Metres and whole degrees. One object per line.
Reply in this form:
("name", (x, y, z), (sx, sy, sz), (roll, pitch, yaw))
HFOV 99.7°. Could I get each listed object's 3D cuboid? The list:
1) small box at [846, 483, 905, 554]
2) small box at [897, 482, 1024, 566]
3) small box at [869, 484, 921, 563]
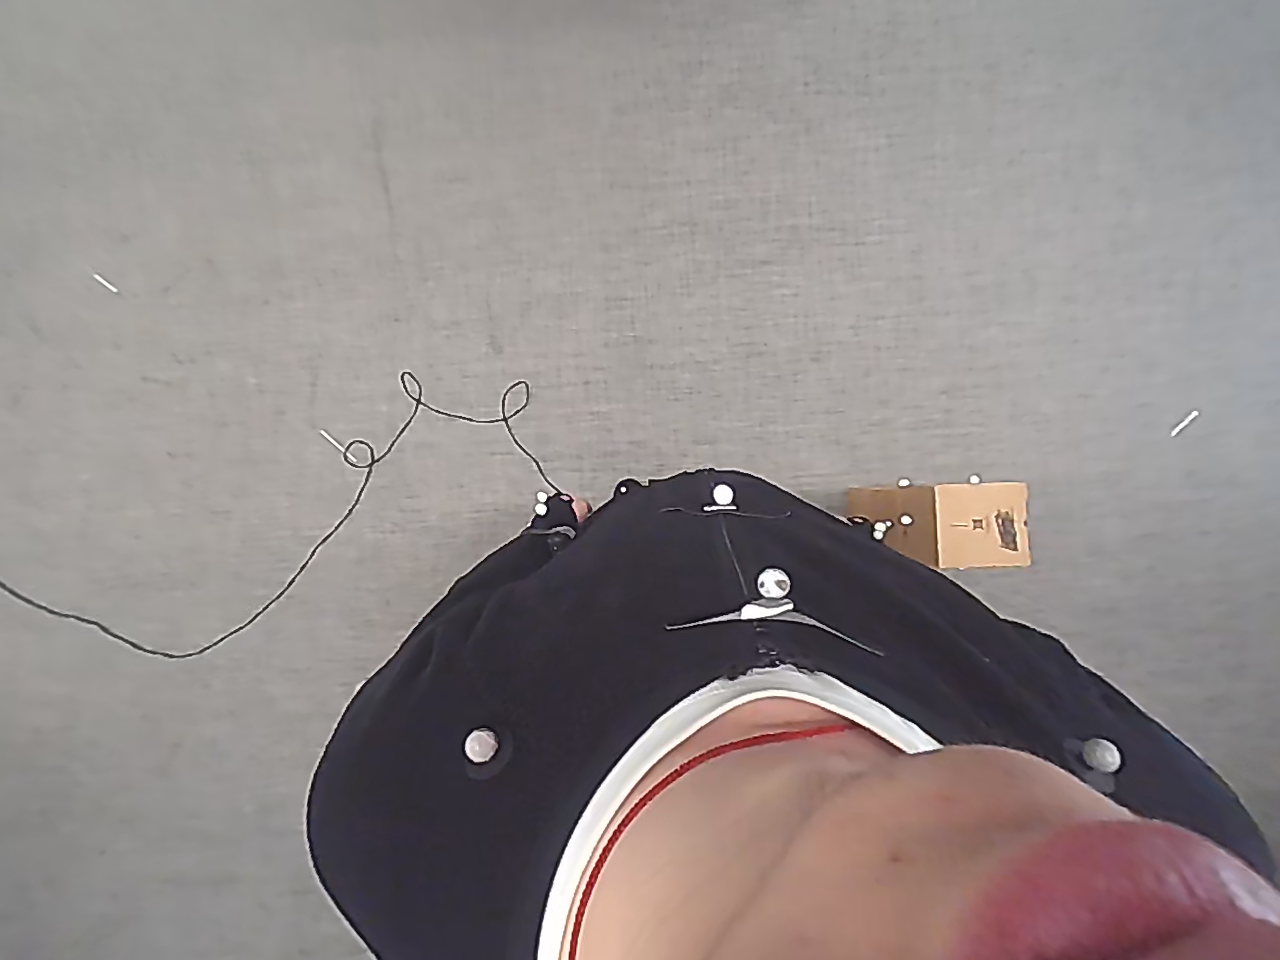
("small box", (0.673, 0.100, 1.469), (0.168, 0.176, 0.179), (-2, 90, 1))
("small box", (0.667, 0.087, 1.142), (0.179, 0.176, 0.168), (-2, 89, 3))
("small box", (0.667, 0.099, 1.308), (0.168, 0.176, 0.179), (-4, 92, 2))
